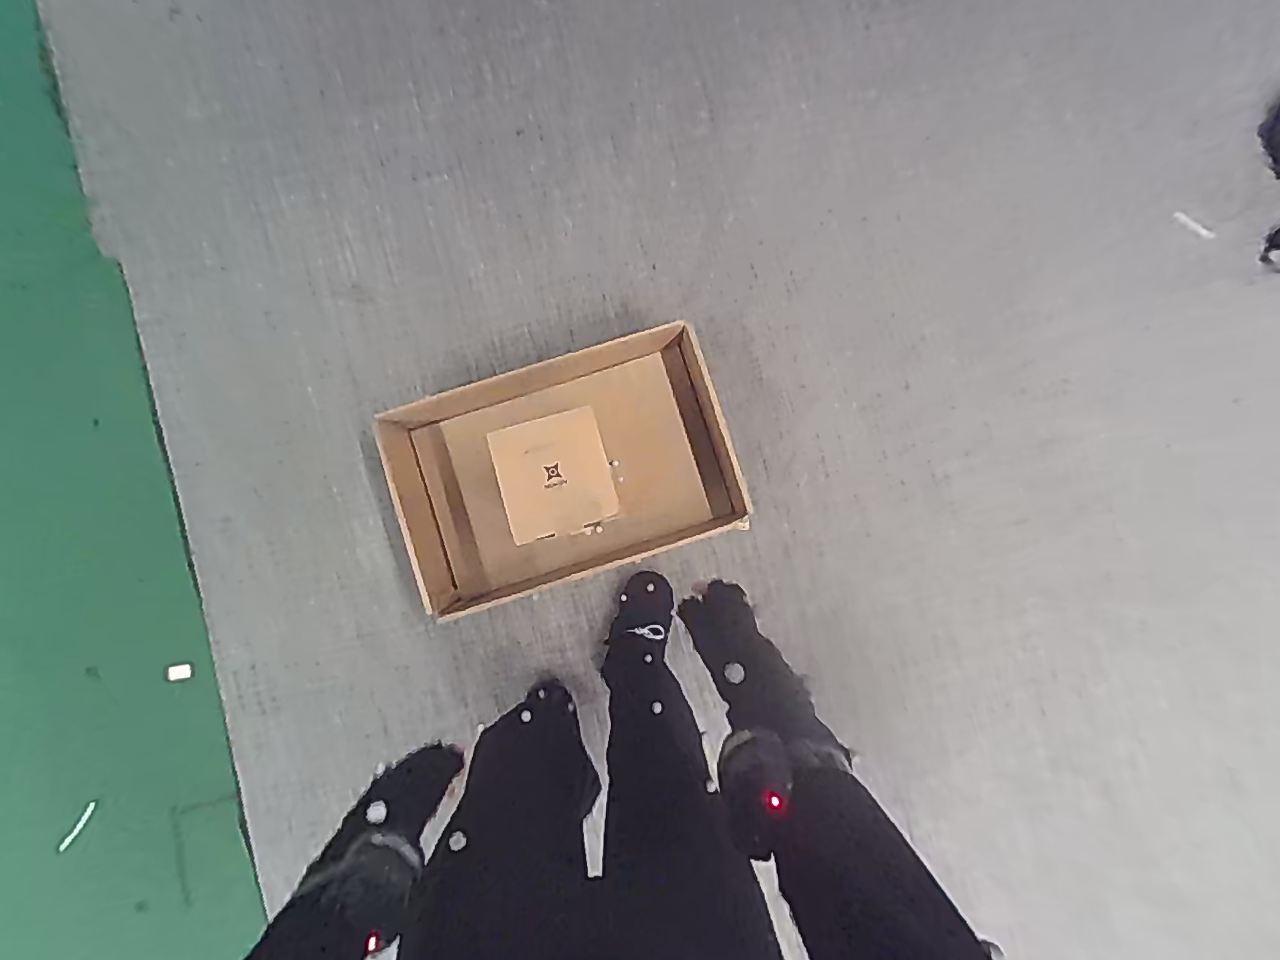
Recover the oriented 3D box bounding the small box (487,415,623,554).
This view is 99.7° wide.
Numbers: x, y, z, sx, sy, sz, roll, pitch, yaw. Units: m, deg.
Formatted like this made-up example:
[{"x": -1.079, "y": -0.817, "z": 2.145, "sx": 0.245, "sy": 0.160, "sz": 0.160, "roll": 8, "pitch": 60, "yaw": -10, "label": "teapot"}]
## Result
[{"x": -0.127, "y": 0.010, "z": 0.878, "sx": 0.168, "sy": 0.176, "sz": 0.179, "roll": -16, "pitch": 86, "yaw": -1, "label": "small box"}]
